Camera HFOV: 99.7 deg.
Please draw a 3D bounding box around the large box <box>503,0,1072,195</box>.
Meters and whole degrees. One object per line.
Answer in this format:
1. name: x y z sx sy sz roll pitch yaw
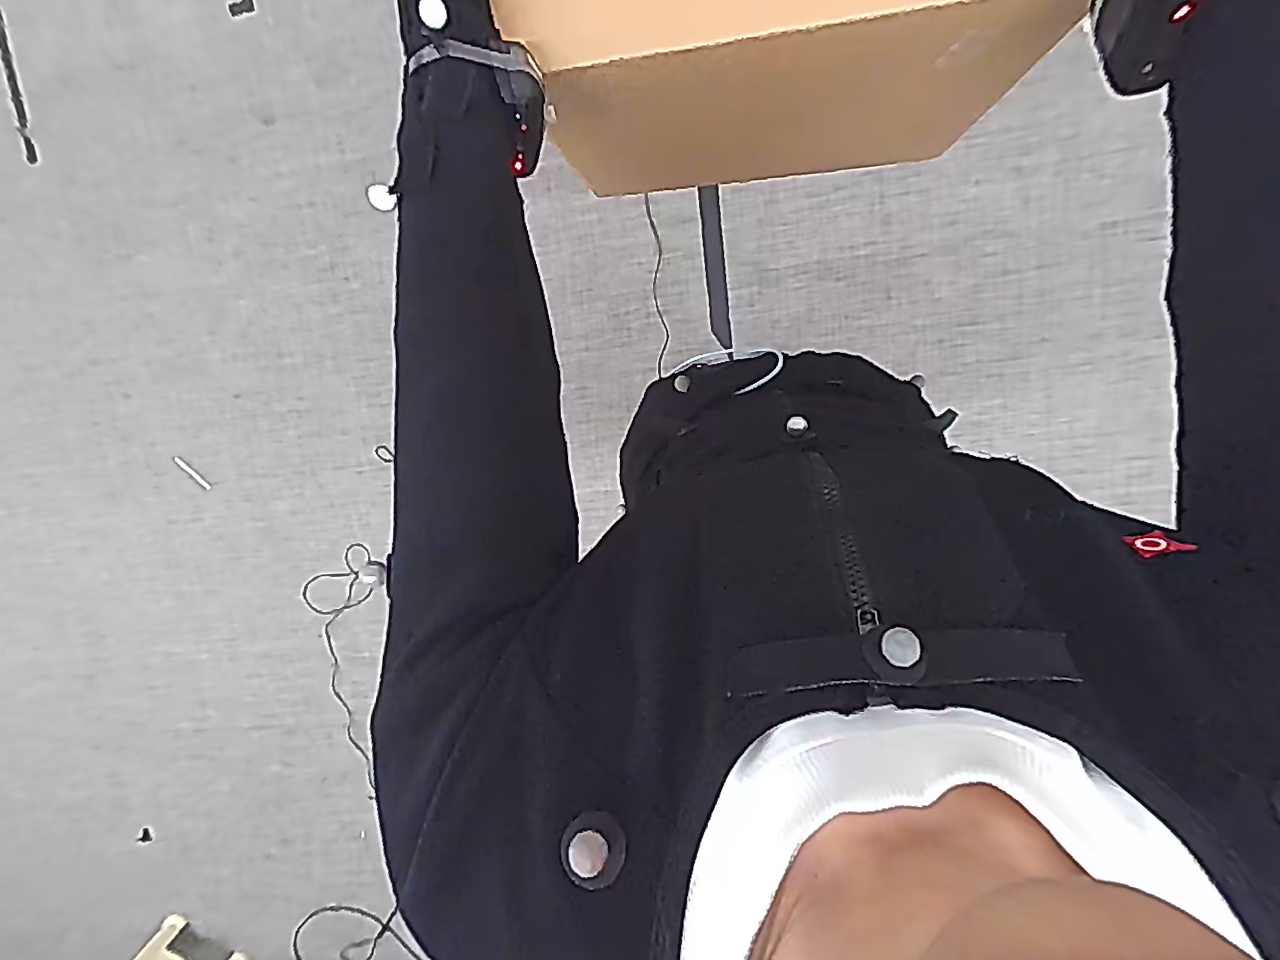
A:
1. large box: 0.107 -0.484 0.478 0.408 0.320 0.320 -3 103 9
